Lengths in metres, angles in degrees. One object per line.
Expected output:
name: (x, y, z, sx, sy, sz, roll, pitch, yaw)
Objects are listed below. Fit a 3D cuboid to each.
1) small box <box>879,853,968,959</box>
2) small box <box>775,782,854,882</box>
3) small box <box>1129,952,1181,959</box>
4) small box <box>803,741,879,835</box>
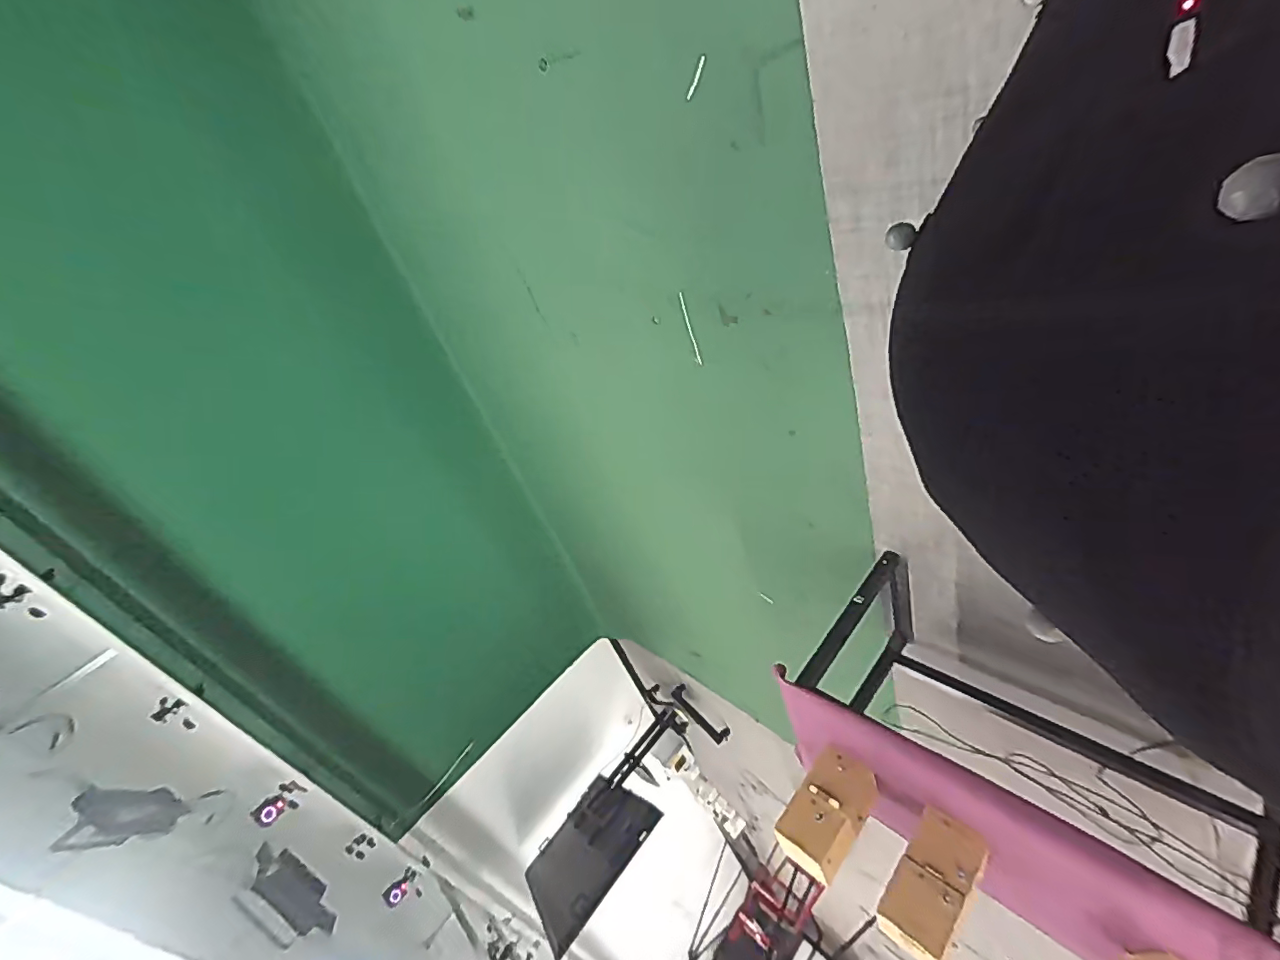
small box: (0.774, 1.168, 1.475, 0.168, 0.176, 0.179, 18, 142, 44)
small box: (0.558, 1.107, 1.709, 0.168, 0.176, 0.179, 16, 138, 46)
small box: (1.216, 1.206, 1.209, 0.168, 0.176, 0.179, 32, 149, 29)
small box: (0.666, 1.007, 1.779, 0.168, 0.176, 0.179, 14, 138, 46)
